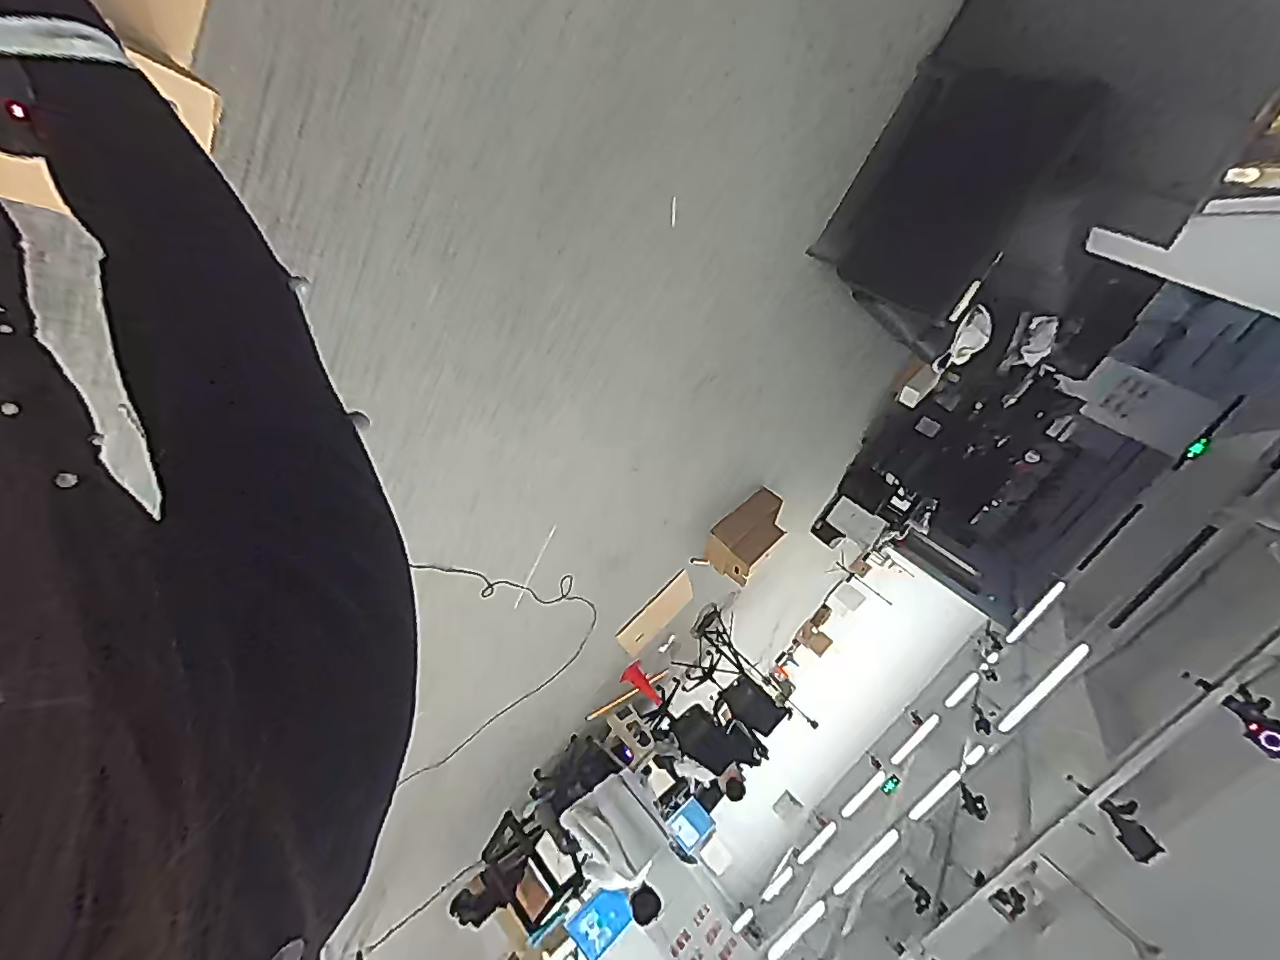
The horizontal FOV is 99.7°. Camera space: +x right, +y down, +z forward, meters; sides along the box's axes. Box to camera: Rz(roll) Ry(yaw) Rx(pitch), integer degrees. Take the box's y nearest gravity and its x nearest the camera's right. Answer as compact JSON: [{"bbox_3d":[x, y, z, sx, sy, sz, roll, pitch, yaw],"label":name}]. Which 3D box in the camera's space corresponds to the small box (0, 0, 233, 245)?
[{"bbox_3d":[-0.560,-0.373,0.549,0.179,0.176,0.168,-2,125,-55],"label":"small box"}]
